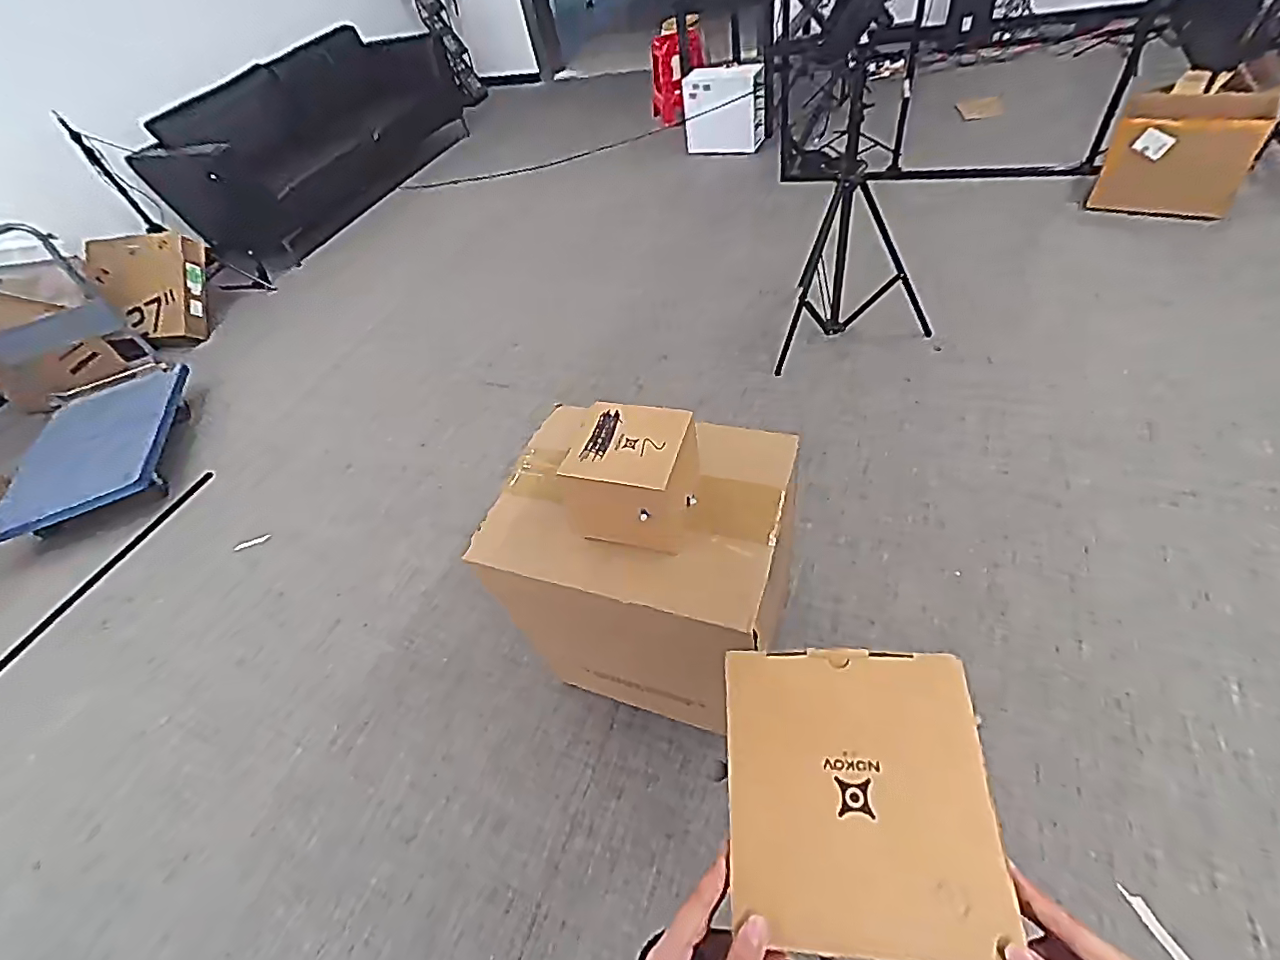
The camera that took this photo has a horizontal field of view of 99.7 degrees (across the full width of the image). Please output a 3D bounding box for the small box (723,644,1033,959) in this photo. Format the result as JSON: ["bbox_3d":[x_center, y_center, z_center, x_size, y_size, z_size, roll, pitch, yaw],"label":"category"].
[{"bbox_3d":[0.153,0.233,0.413,0.168,0.176,0.179,-3,59,11],"label":"small box"}]
